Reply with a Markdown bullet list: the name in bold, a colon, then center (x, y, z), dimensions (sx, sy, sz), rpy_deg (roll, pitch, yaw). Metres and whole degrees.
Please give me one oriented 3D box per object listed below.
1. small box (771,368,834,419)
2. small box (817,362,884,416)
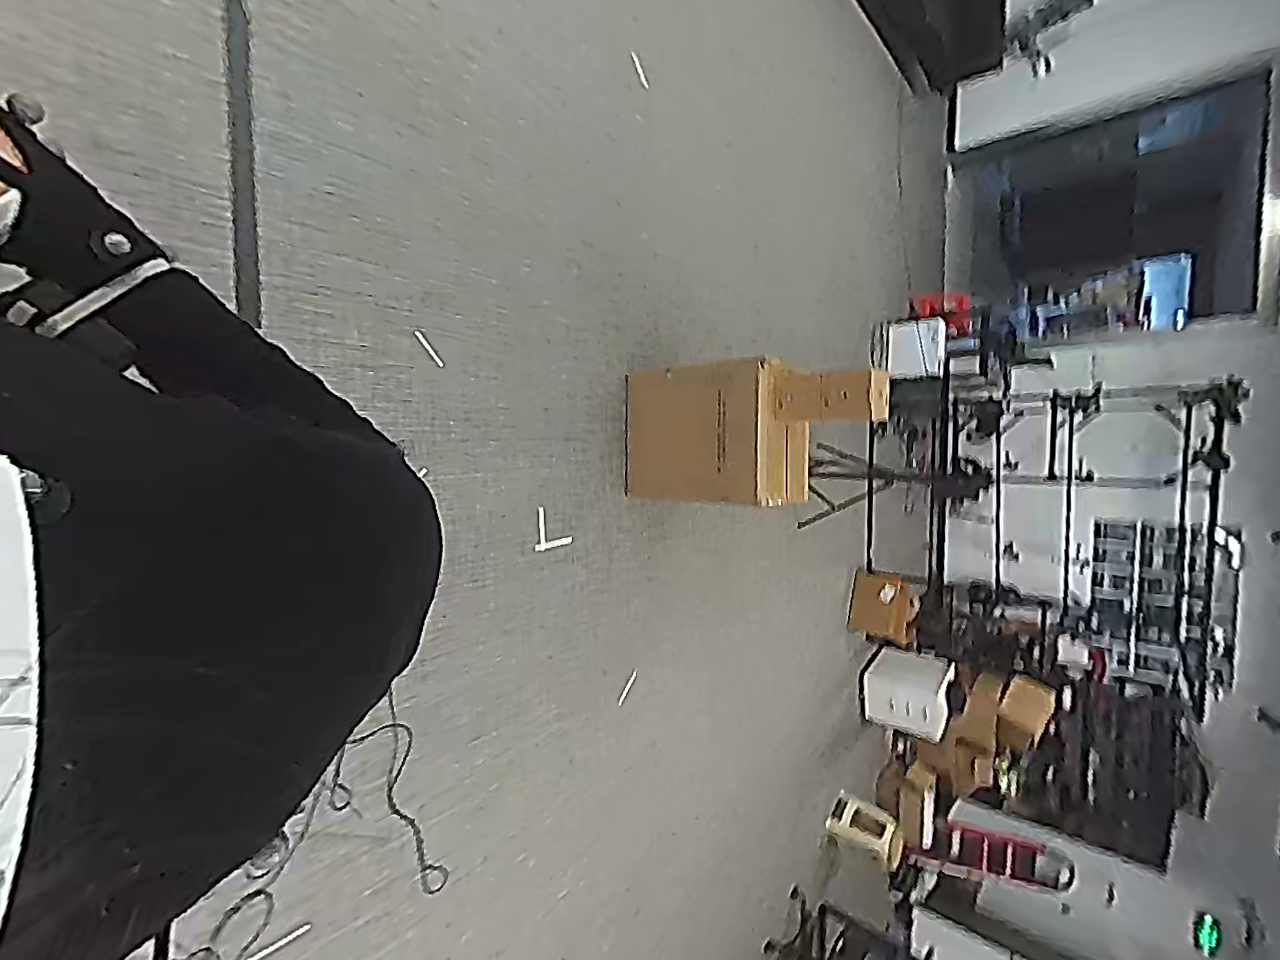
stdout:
- **small box**: center (0.585, -0.307, 1.933), dimensions (0.179, 0.176, 0.168), rpy_deg (-6, 97, -48)
- **small box**: center (0.709, -0.302, 1.825), dimensions (0.179, 0.176, 0.168), rpy_deg (-9, 99, -47)
